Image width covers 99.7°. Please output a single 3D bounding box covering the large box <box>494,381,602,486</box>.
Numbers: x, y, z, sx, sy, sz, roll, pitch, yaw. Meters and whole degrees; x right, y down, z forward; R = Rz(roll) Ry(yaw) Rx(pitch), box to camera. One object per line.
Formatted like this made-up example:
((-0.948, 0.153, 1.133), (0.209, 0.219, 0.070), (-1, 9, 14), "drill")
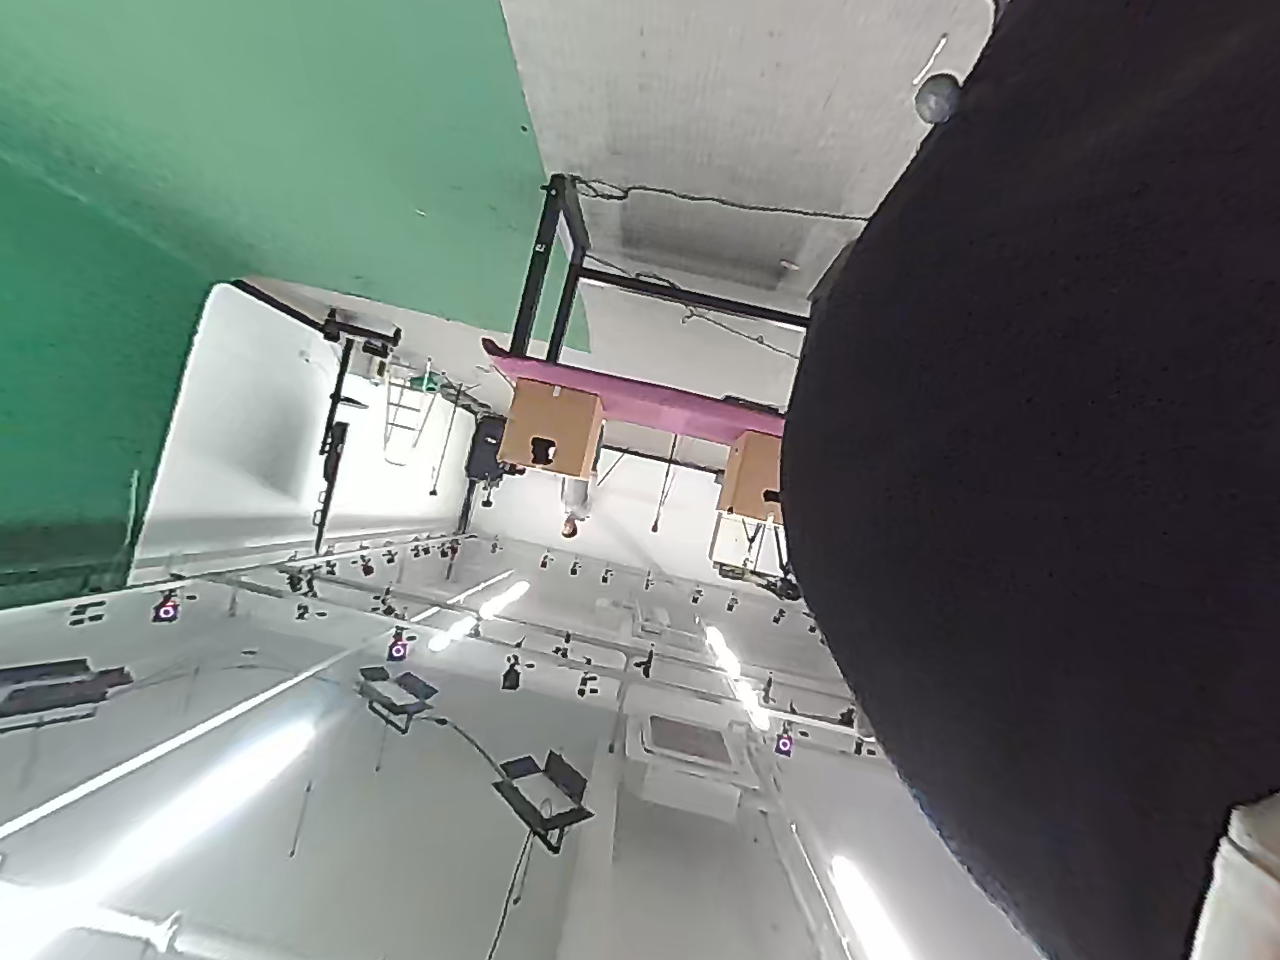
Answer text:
((-0.342, -0.168, 2.139), (0.320, 0.320, 0.408), (12, 176, 0), "large box")
